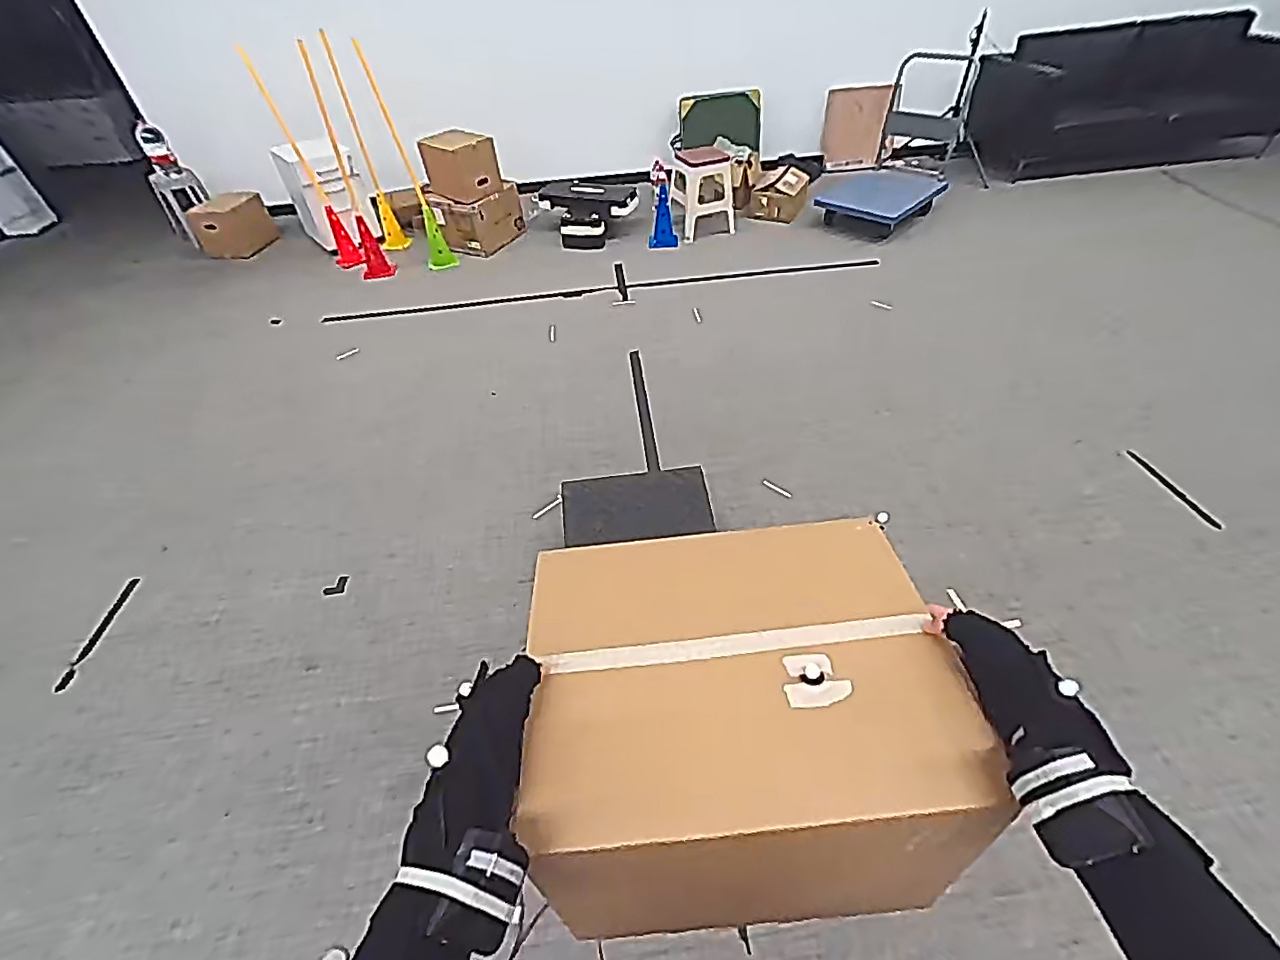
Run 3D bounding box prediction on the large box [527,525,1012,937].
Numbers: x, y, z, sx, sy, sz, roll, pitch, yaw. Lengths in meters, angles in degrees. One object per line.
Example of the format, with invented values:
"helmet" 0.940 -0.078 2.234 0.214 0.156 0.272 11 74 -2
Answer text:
"large box" 0.105 0.288 0.638 0.408 0.320 0.320 -6 40 0
